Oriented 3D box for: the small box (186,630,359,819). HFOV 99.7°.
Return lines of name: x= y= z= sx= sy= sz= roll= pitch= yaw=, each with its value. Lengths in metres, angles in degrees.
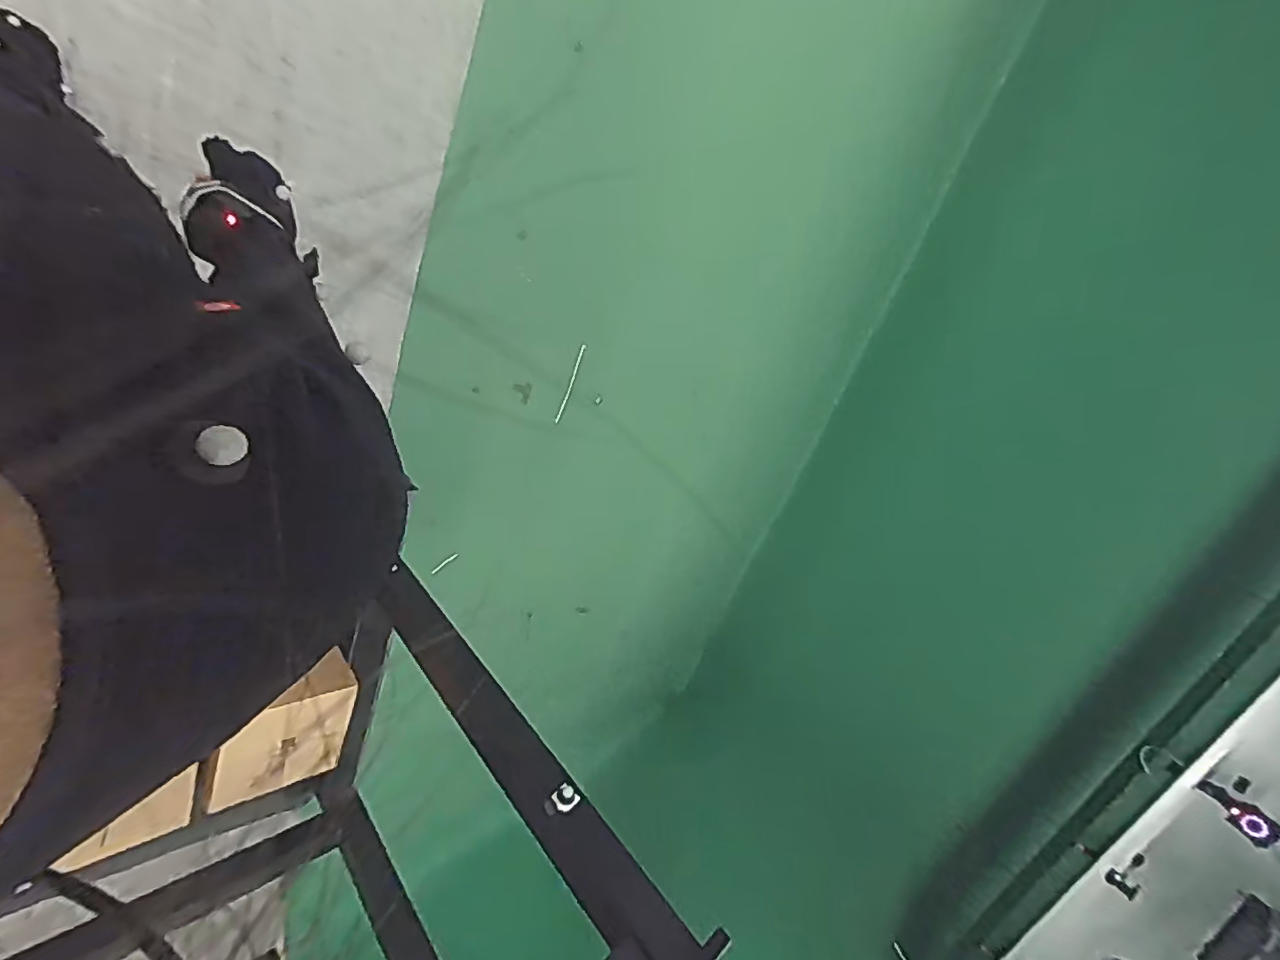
small box: x=-0.554 y=0.345 z=0.809 sx=0.168 sy=0.176 sz=0.179 roll=2 pitch=117 yaw=-50
